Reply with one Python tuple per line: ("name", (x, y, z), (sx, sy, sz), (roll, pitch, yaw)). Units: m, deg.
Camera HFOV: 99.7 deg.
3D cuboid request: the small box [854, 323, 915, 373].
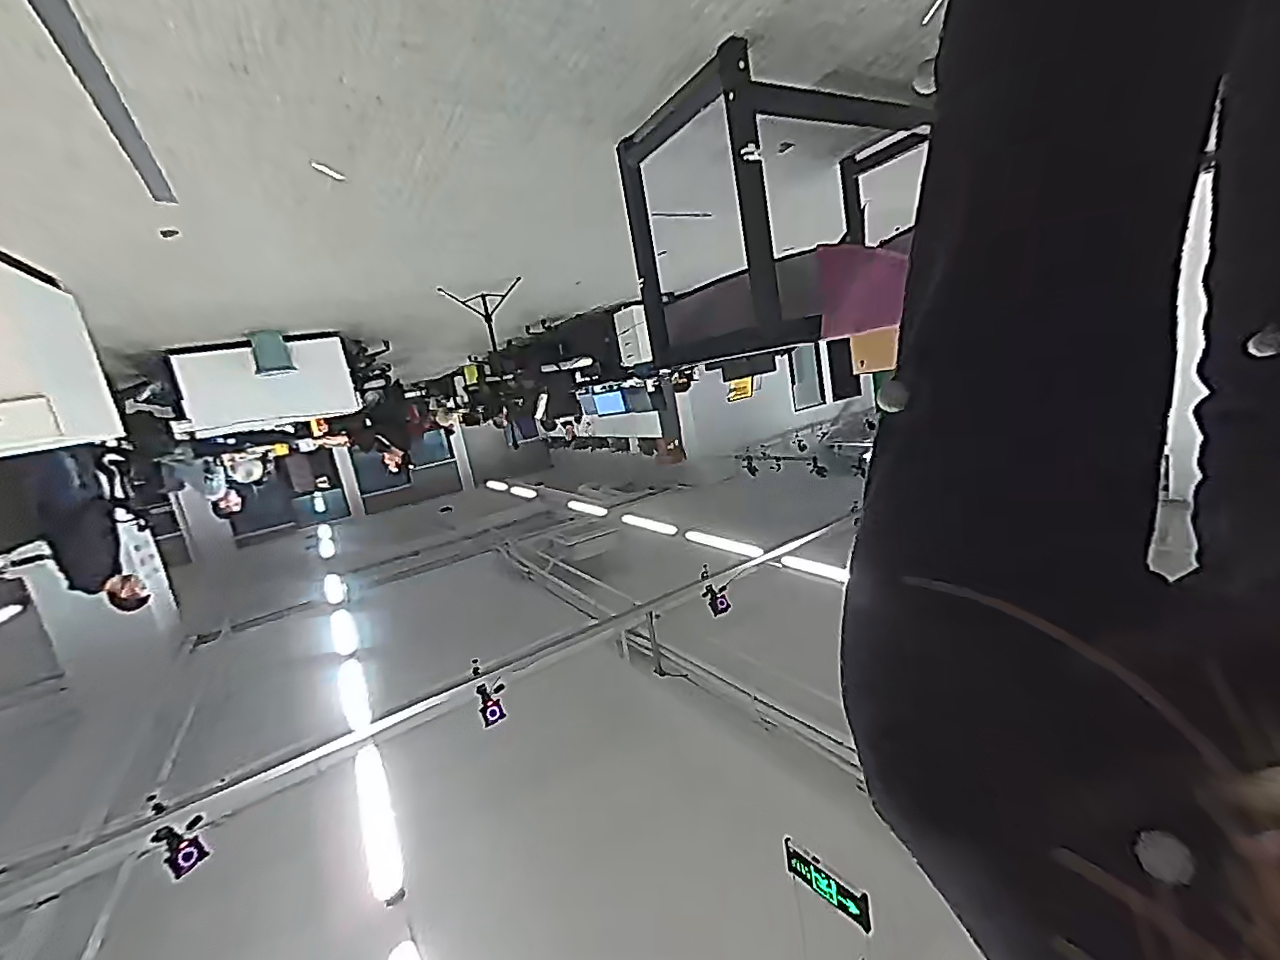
("small box", (1.002, -0.542, 2.220), (0.168, 0.176, 0.179), (-17, -168, -31))
